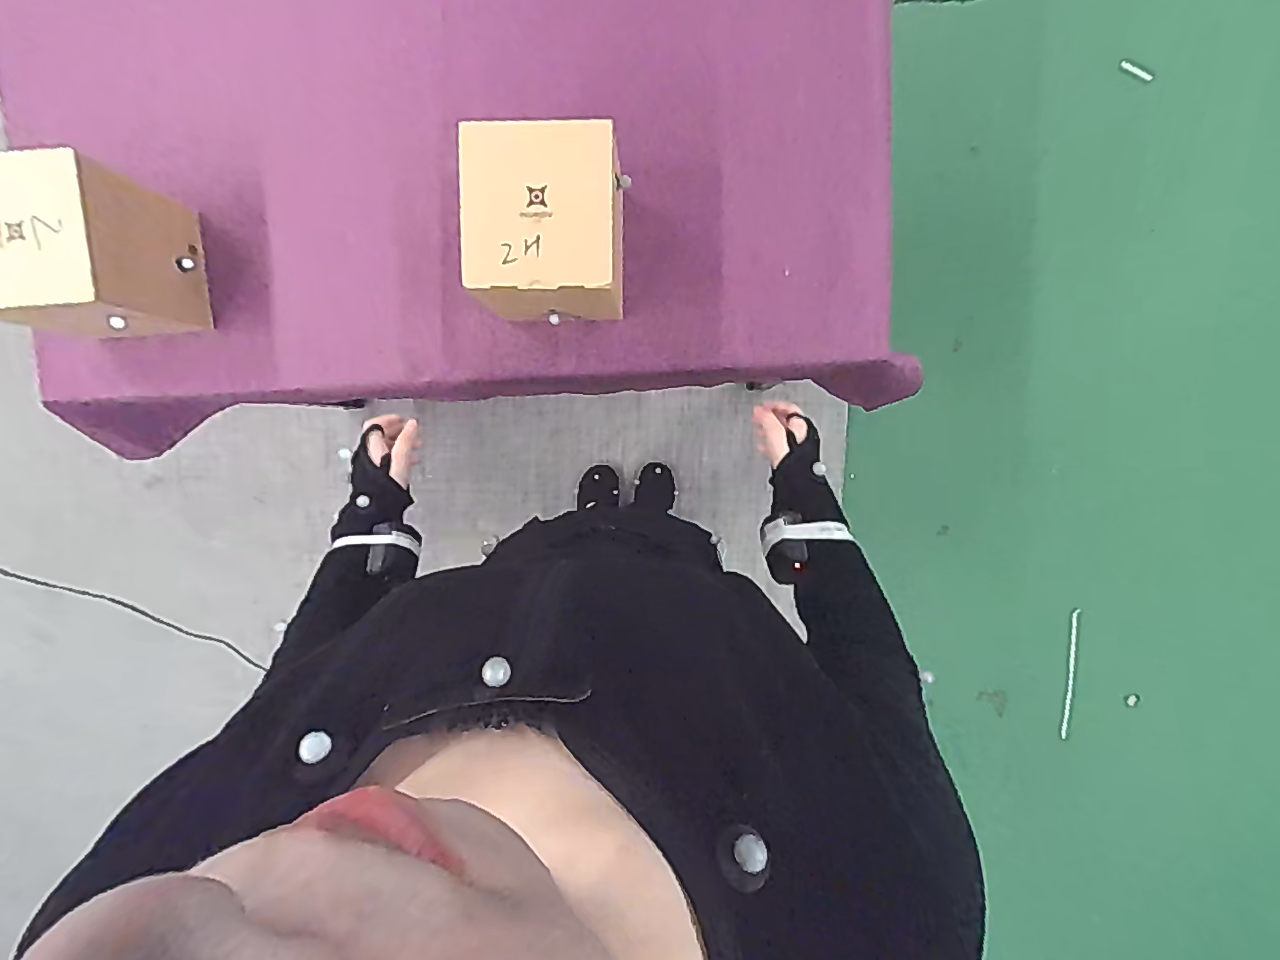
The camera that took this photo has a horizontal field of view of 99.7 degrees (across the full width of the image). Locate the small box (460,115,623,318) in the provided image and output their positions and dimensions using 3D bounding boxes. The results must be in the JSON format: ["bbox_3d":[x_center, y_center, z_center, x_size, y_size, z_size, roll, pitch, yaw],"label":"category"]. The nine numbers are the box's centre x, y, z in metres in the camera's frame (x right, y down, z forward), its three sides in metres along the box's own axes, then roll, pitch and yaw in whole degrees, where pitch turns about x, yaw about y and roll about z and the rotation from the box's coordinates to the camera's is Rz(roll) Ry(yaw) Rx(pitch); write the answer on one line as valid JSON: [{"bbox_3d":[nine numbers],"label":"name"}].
[{"bbox_3d":[-0.109,-0.304,0.656,0.168,0.176,0.179,1,96,2],"label":"small box"}]
